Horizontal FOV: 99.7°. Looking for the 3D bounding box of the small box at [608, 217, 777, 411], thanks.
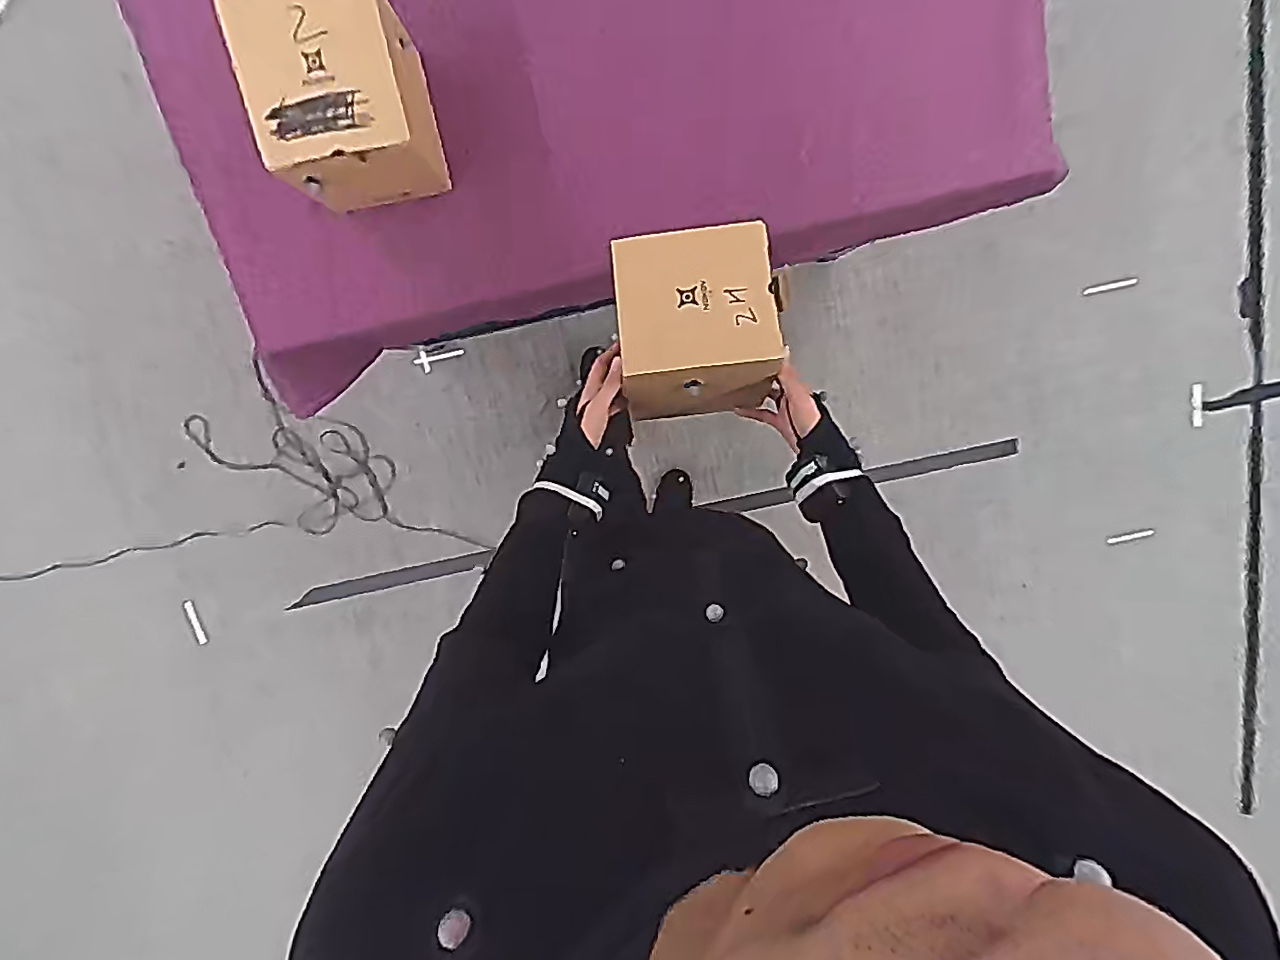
[{"bbox_3d":[0.060,-0.192,0.671,0.179,0.176,0.168,-5,79,2],"label":"small box"}]
